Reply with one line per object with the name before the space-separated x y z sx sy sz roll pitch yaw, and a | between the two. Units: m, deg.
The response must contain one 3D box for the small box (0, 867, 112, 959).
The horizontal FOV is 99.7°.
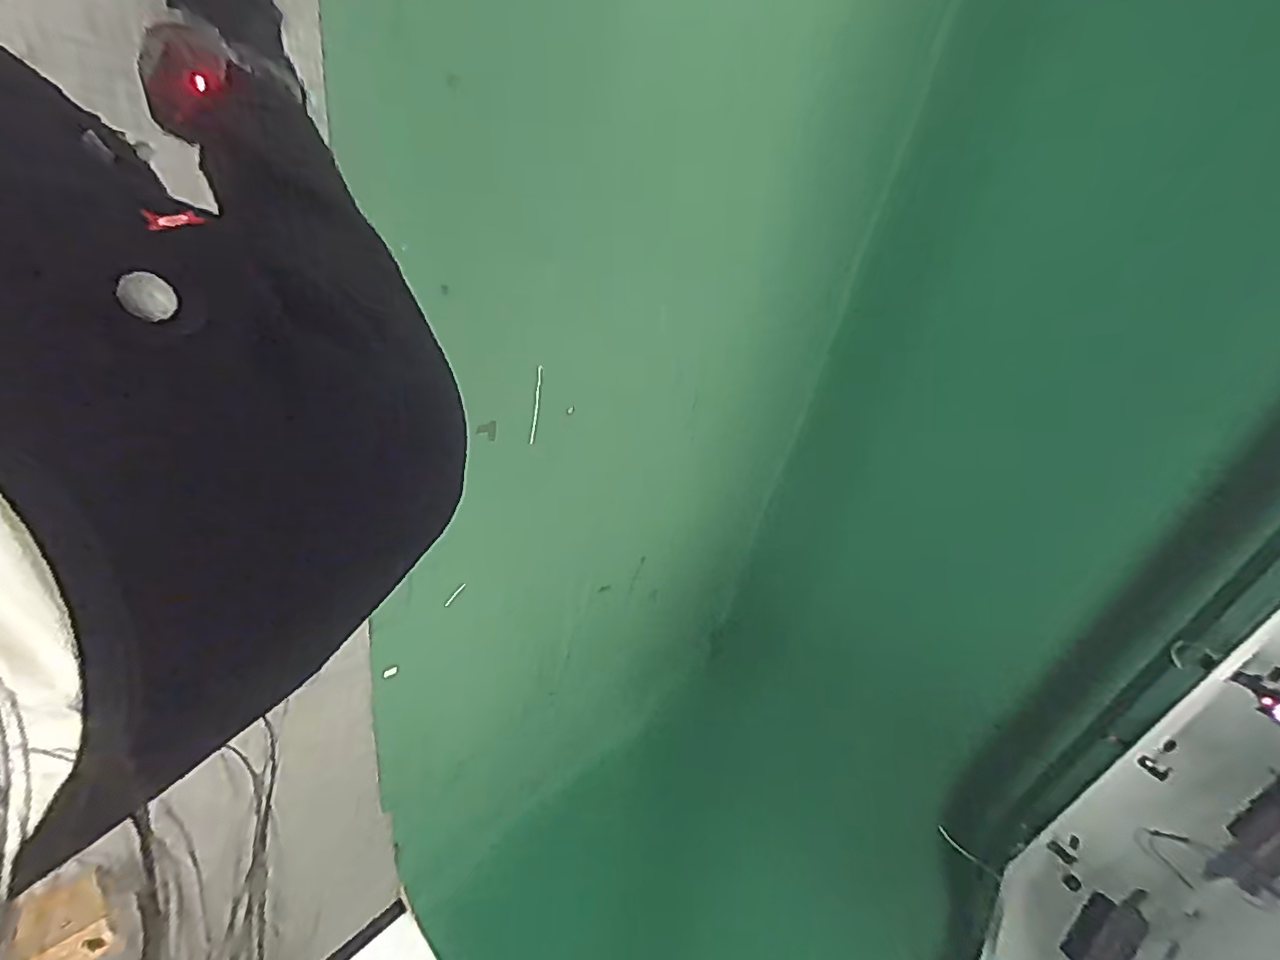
small box | -1.620 1.233 1.499 0.179 0.176 0.168 -19 132 -45
